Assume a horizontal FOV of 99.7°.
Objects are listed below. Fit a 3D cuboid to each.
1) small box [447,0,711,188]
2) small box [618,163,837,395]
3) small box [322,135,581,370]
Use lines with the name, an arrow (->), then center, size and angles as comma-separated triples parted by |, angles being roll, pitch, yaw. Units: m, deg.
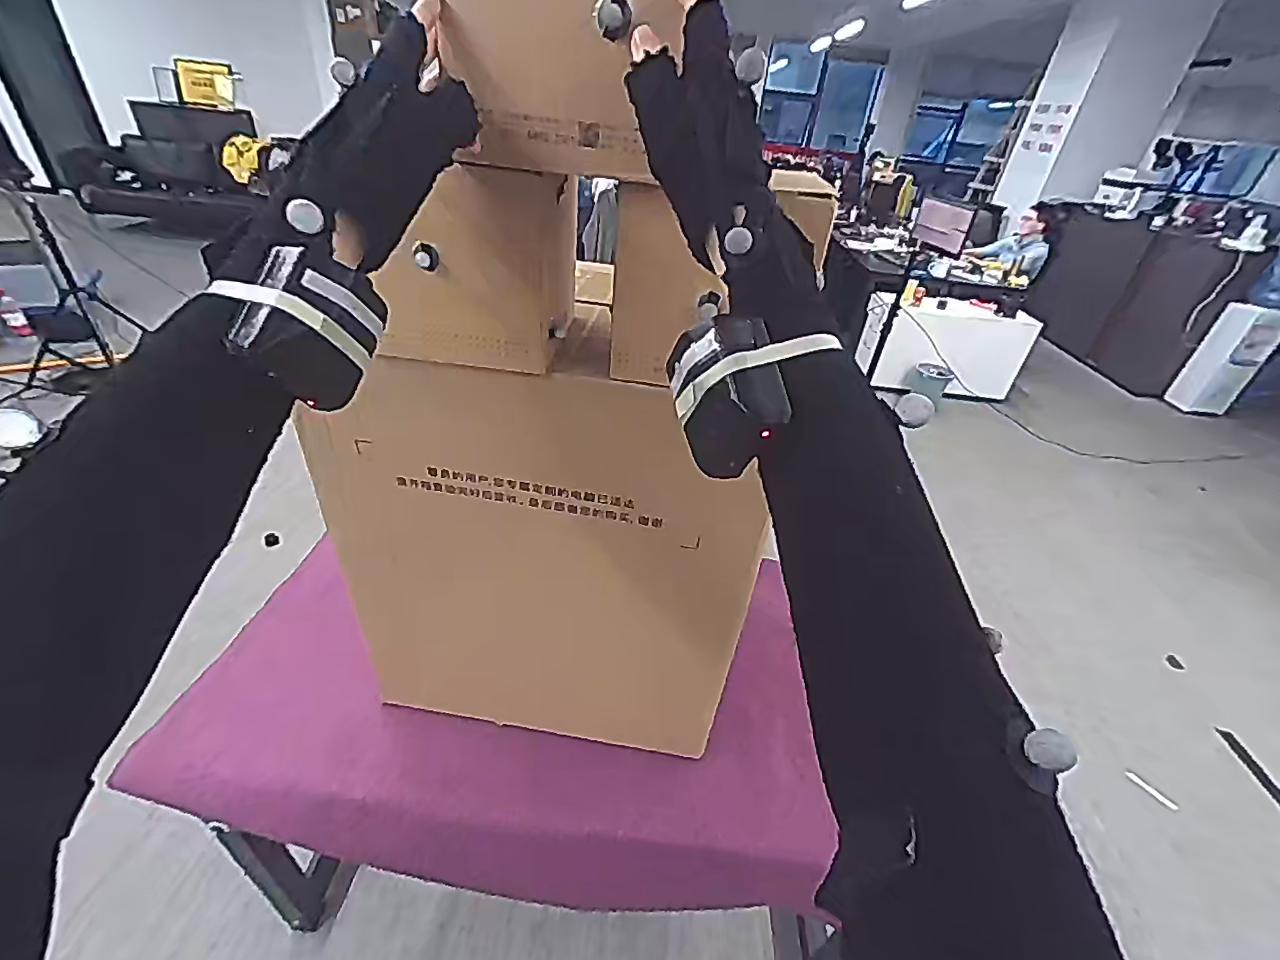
small box -> -0.035, -0.332, 0.415 | 0.168, 0.176, 0.179 | 10, 34, 3
small box -> 0.073, -0.197, 0.520 | 0.168, 0.176, 0.179 | 9, 35, 4
small box -> -0.155, -0.217, 0.516 | 0.179, 0.176, 0.168 | 6, 35, 1
